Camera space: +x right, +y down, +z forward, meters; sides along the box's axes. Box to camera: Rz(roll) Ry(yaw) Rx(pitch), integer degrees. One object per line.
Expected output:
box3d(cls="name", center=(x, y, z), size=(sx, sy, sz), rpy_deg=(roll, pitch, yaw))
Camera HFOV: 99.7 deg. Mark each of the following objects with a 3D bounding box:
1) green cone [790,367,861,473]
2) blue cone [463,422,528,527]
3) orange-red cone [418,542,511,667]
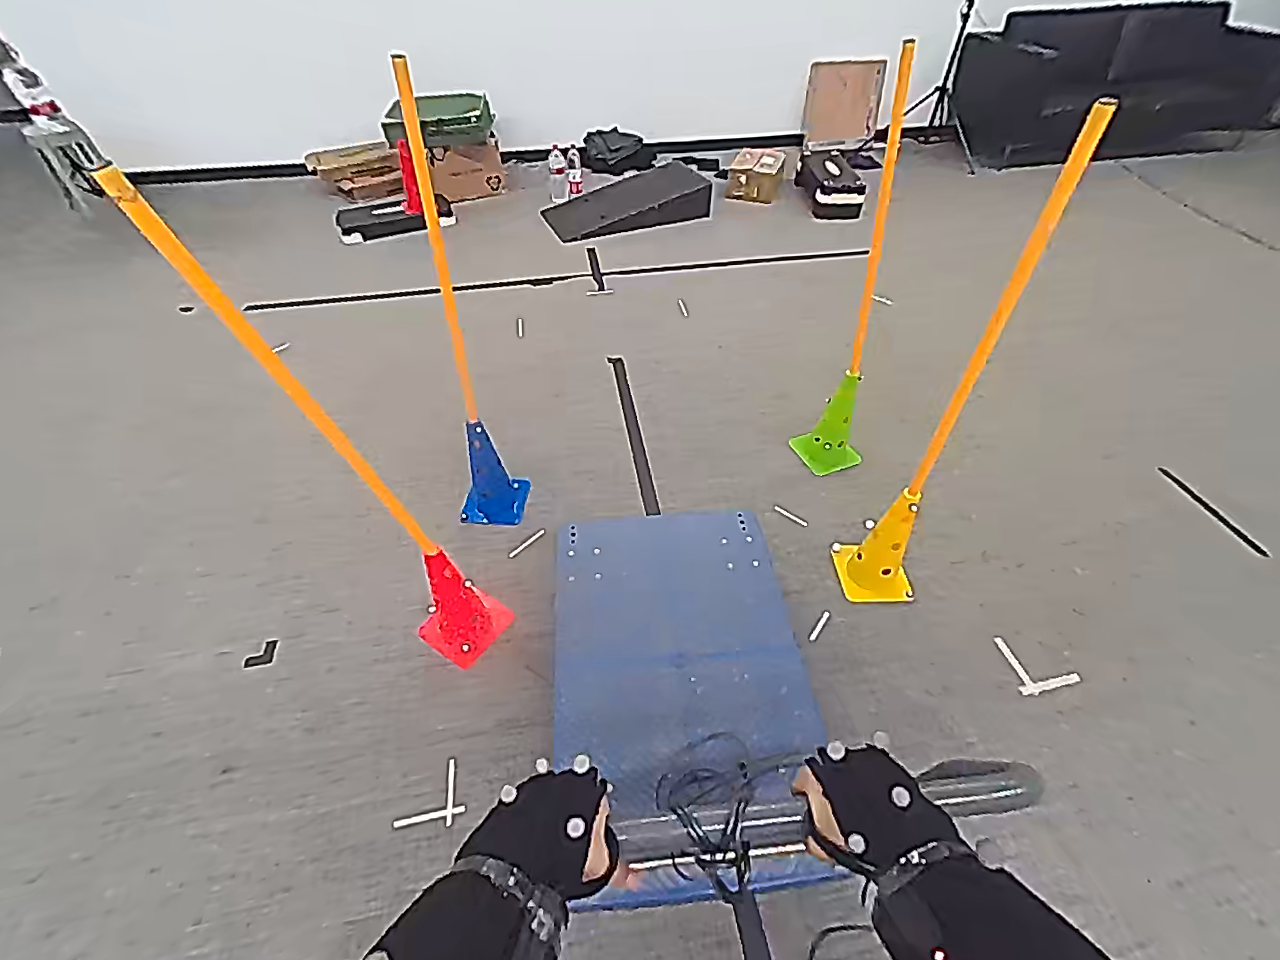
box3d(cls="green cone", center=(0.675, -0.228, 1.847), size=(0.200, 0.368, 0.202), rpy_deg=(-18, 51, -16))
box3d(cls="blue cone", center=(-0.479, -0.035, 1.685), size=(0.193, 0.380, 0.192), rpy_deg=(4, 48, 3))
box3d(cls="orange-red cone", center=(-0.480, 0.278, 1.371), size=(0.198, 0.360, 0.199), rpy_deg=(28, 51, 23))
